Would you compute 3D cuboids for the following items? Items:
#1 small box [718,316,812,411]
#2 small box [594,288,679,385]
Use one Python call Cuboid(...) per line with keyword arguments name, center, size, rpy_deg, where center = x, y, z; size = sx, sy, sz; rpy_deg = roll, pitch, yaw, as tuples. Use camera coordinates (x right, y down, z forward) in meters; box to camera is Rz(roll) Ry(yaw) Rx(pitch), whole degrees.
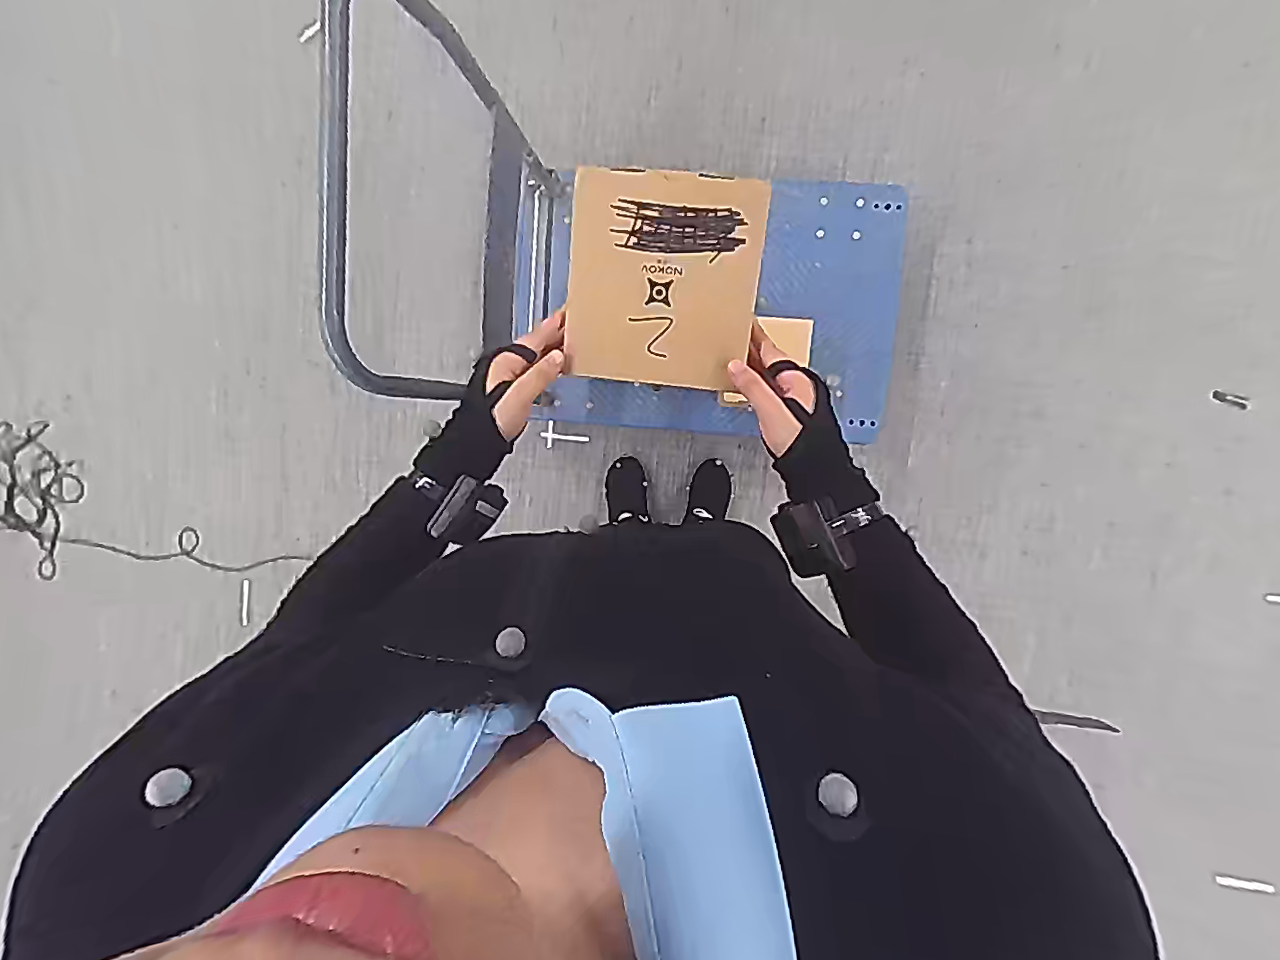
Cuboid(name="small box", center=(0.263, -0.245, 1.173), size=(0.168, 0.176, 0.179), rpy_deg=(5, 96, 4))
Cuboid(name="small box", center=(-0.004, -0.307, 1.184), size=(0.168, 0.176, 0.179), rpy_deg=(4, 96, 4))
